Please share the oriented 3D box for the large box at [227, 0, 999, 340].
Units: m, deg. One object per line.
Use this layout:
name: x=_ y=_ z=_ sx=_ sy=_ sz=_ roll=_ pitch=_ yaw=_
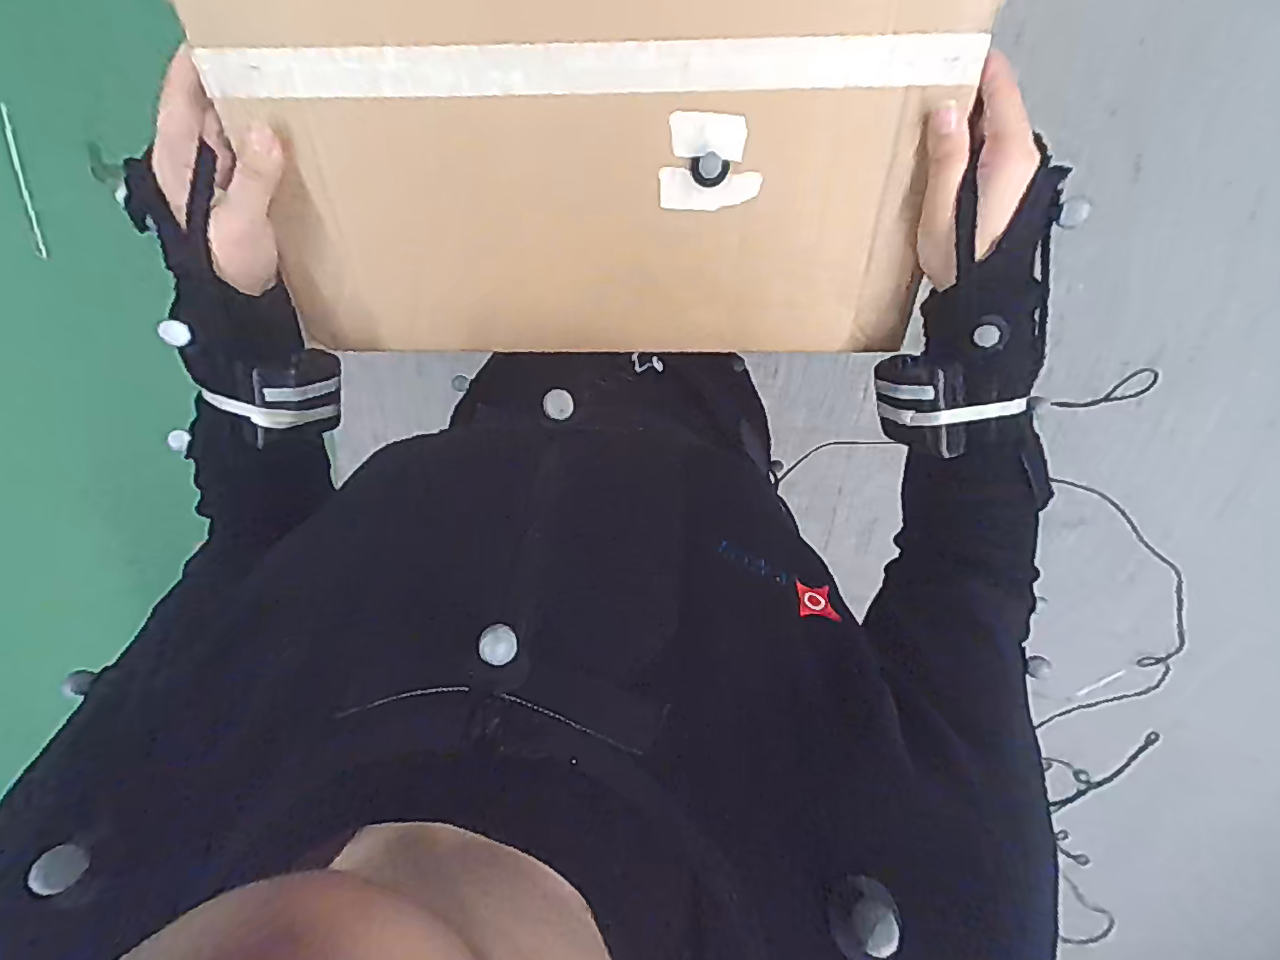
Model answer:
large box: x=-0.016 y=-0.312 z=0.412 sx=0.408 sy=0.320 sz=0.320 roll=0 pitch=126 yaw=0
